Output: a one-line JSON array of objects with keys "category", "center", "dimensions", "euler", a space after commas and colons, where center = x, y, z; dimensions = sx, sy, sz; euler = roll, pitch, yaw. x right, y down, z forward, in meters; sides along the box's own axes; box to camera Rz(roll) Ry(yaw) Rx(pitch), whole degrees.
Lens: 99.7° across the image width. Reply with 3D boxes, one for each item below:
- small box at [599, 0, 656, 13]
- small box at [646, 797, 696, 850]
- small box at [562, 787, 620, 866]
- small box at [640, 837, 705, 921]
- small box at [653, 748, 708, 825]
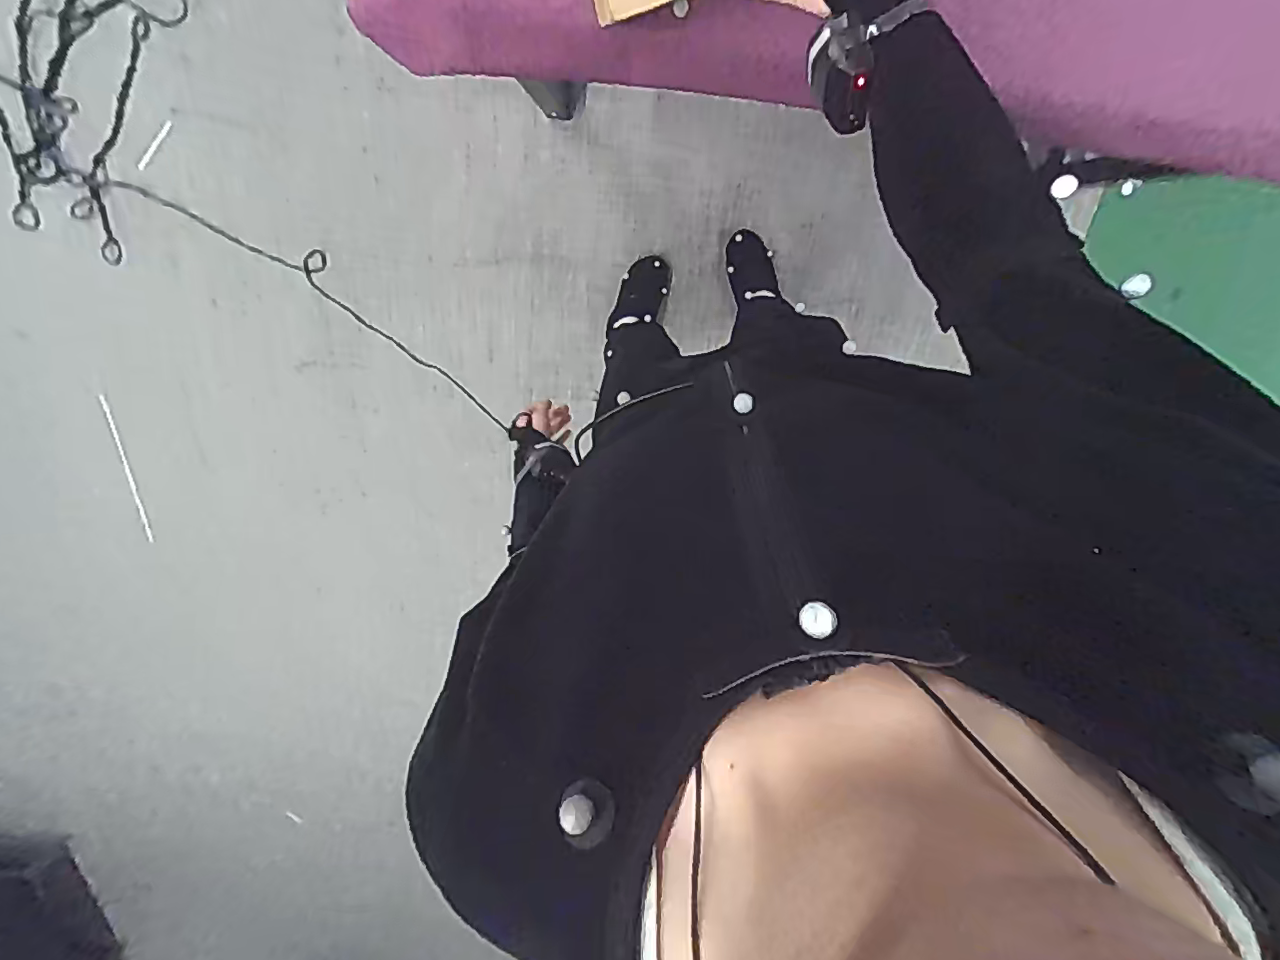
[{"category": "small box", "center": [0.028, -0.512, 0.442], "dimensions": [0.179, 0.176, 0.168], "euler": [-15, 130, 6]}, {"category": "small box", "center": [0.115, 1.351, 2.077], "dimensions": [0.168, 0.176, 0.179], "euler": [7, 115, -2]}, {"category": "small box", "center": [-0.181, 1.319, 2.061], "dimensions": [0.168, 0.176, 0.179], "euler": [22, 113, -9]}, {"category": "small box", "center": [0.113, 1.415, 1.925], "dimensions": [0.179, 0.176, 0.168], "euler": [23, 113, -8]}, {"category": "small box", "center": [0.142, 1.111, 1.967], "dimensions": [0.168, 0.176, 0.179], "euler": [11, 114, -3]}]
